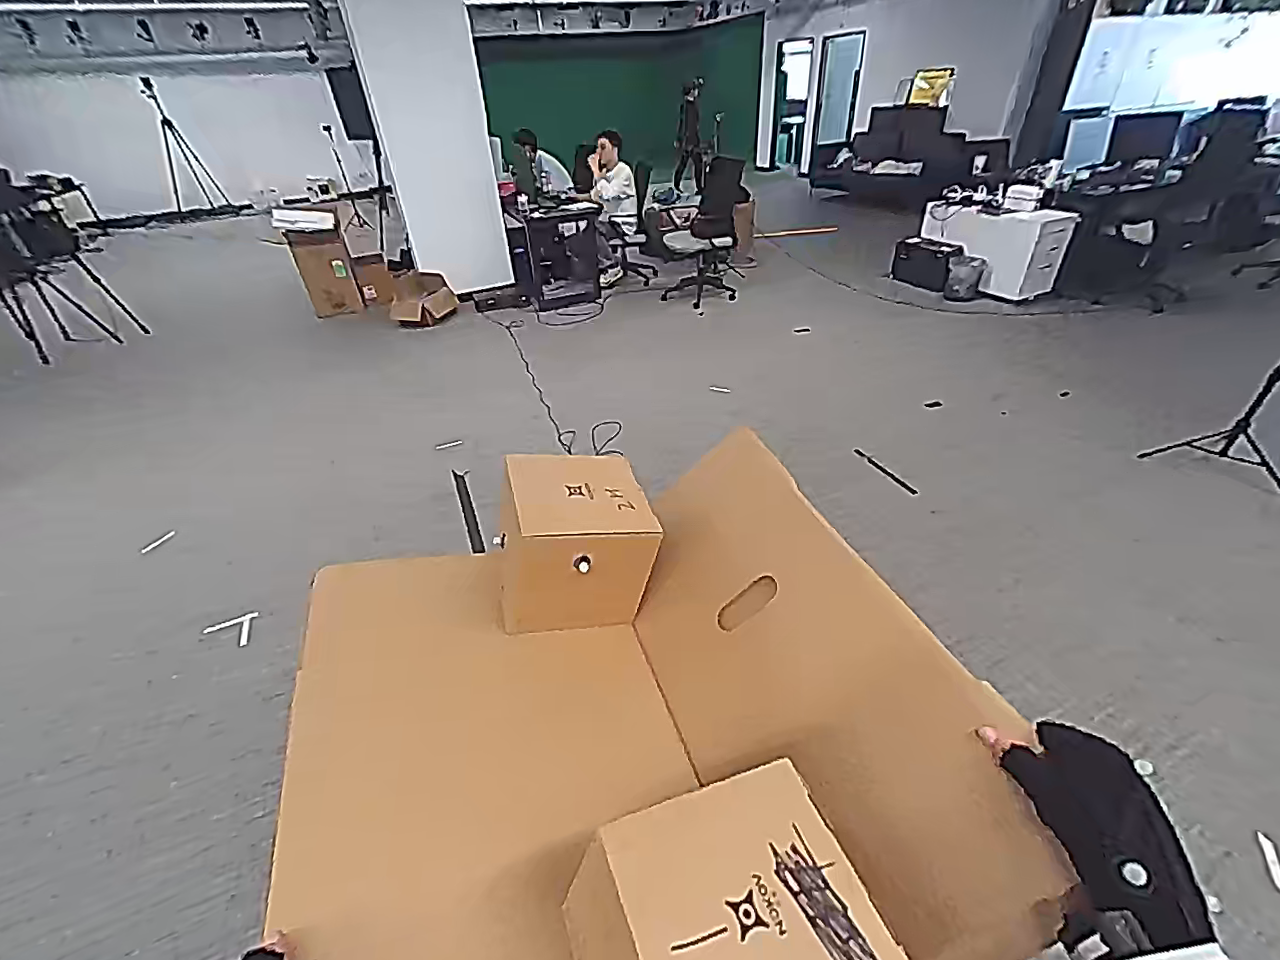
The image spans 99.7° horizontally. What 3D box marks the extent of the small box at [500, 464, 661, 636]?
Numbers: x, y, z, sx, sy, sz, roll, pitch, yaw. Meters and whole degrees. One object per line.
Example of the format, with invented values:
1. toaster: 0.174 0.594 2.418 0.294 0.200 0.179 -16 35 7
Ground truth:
1. small box: -0.093 0.094 0.733 0.179 0.176 0.168 1 36 -22
